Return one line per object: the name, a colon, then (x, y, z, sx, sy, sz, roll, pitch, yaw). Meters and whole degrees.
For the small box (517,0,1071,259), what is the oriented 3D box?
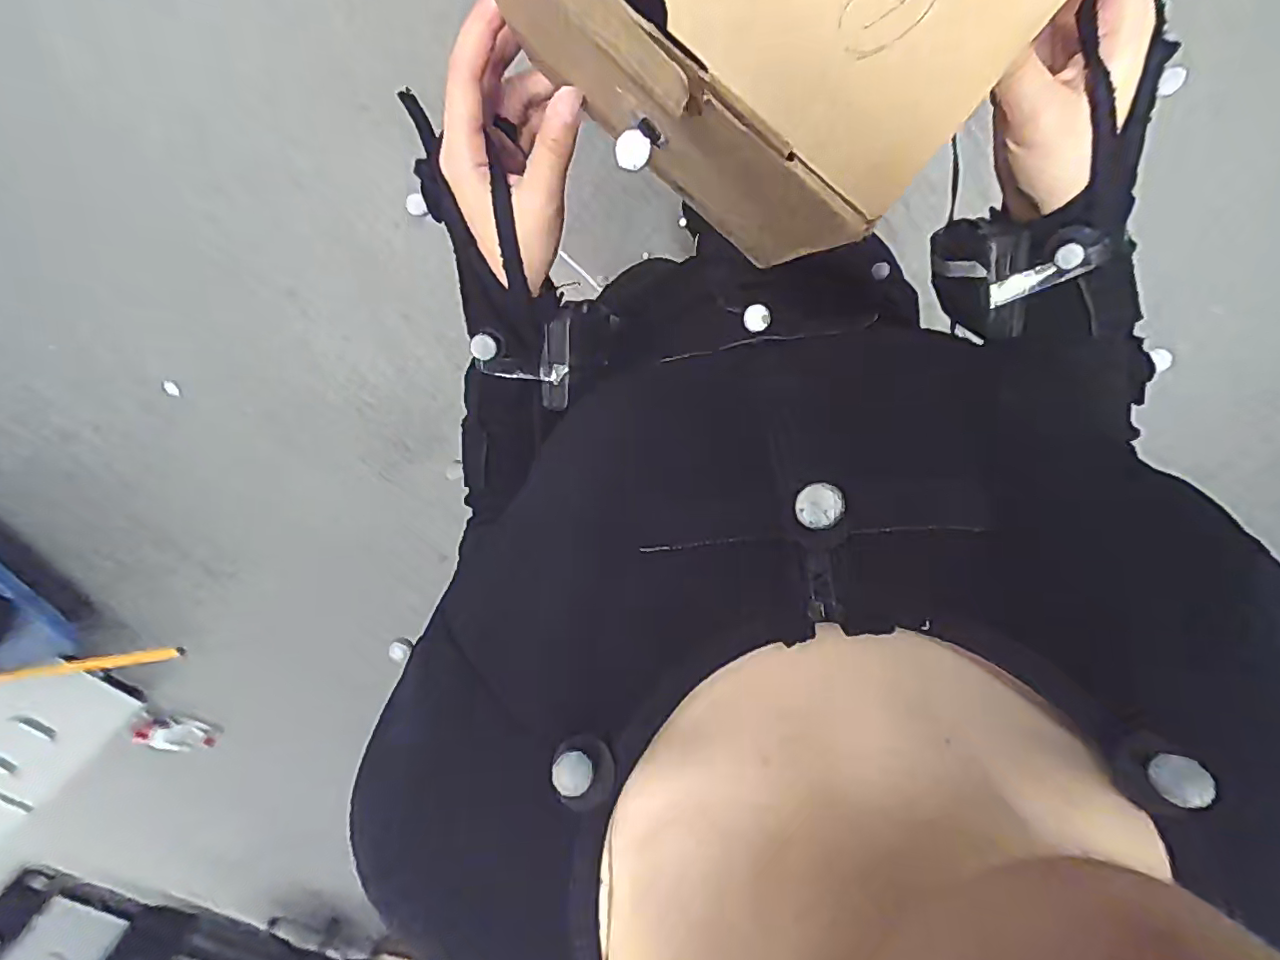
small box: (0.062, -0.208, 0.207, 0.168, 0.176, 0.179, 37, 107, -9)
